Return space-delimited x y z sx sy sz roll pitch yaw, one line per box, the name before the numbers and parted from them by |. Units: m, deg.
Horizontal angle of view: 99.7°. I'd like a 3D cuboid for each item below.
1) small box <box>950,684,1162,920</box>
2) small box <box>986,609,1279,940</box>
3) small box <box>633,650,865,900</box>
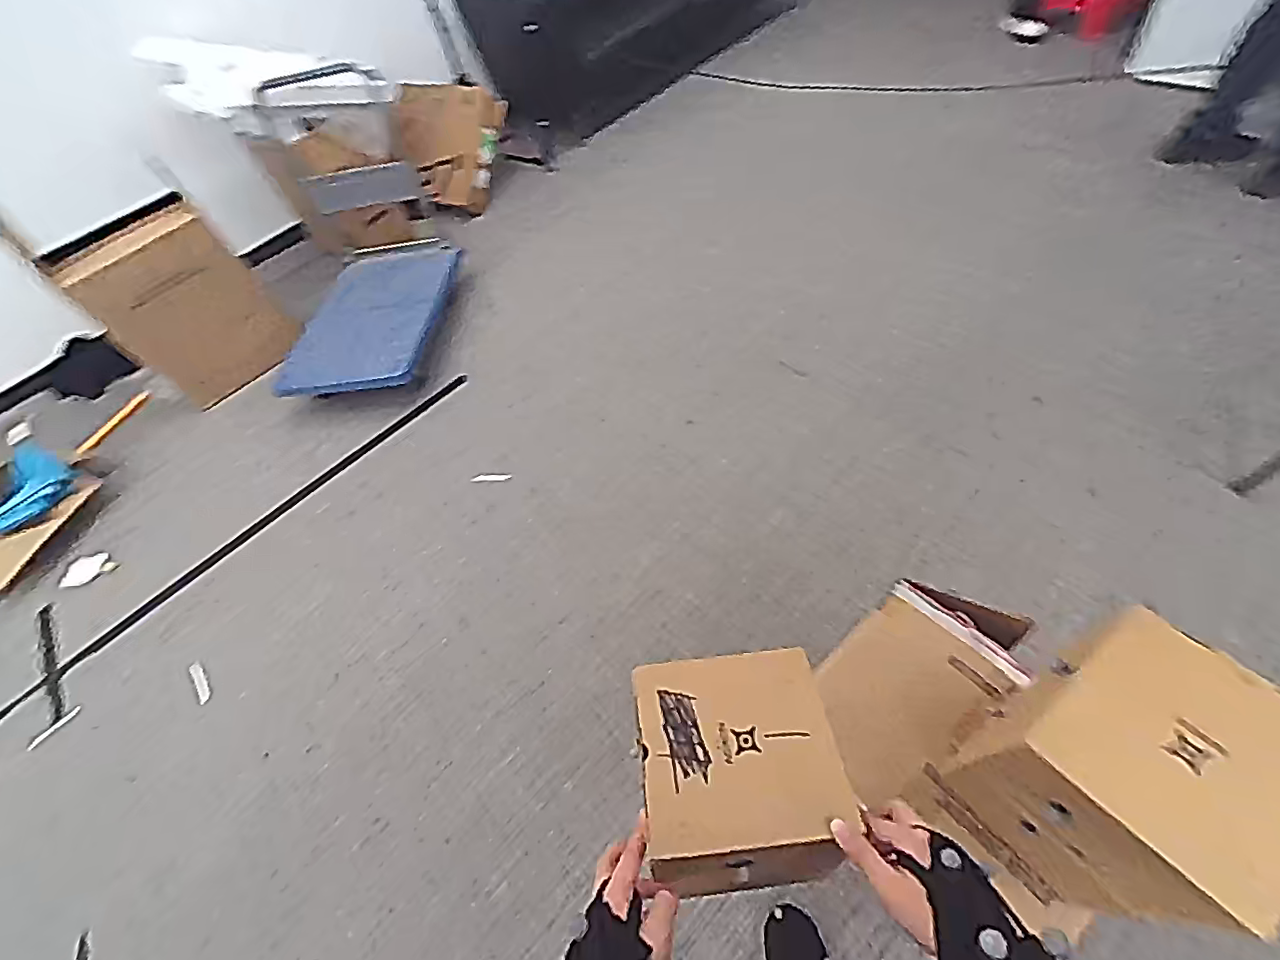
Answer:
small box | 0.494 0.347 0.614 0.168 0.176 0.179 -37 56 -11
small box | 0.450 0.256 0.486 0.179 0.176 0.168 -39 56 -14
small box | 0.092 0.293 0.536 0.179 0.176 0.168 -6 43 -2
